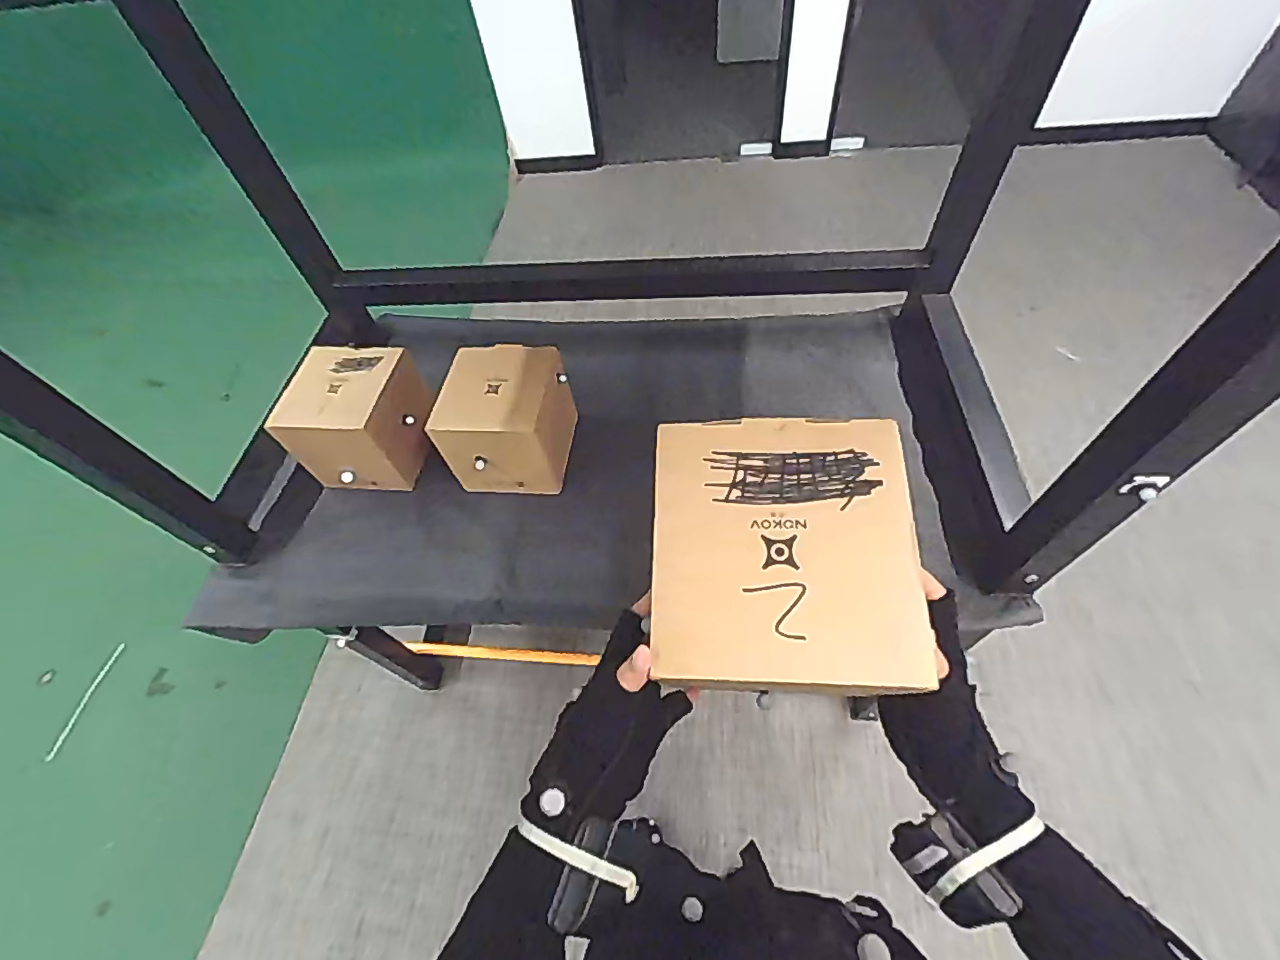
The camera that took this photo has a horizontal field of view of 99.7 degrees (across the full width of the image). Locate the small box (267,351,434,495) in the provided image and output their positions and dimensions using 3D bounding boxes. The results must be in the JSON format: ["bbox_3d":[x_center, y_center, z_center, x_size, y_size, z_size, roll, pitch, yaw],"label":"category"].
[{"bbox_3d":[-0.464,-0.095,0.910,0.168,0.176,0.179,2,56,8],"label":"small box"}]

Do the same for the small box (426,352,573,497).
[{"bbox_3d":[-0.213,-0.087,0.879,0.168,0.176,0.179,2,55,8],"label":"small box"}]
